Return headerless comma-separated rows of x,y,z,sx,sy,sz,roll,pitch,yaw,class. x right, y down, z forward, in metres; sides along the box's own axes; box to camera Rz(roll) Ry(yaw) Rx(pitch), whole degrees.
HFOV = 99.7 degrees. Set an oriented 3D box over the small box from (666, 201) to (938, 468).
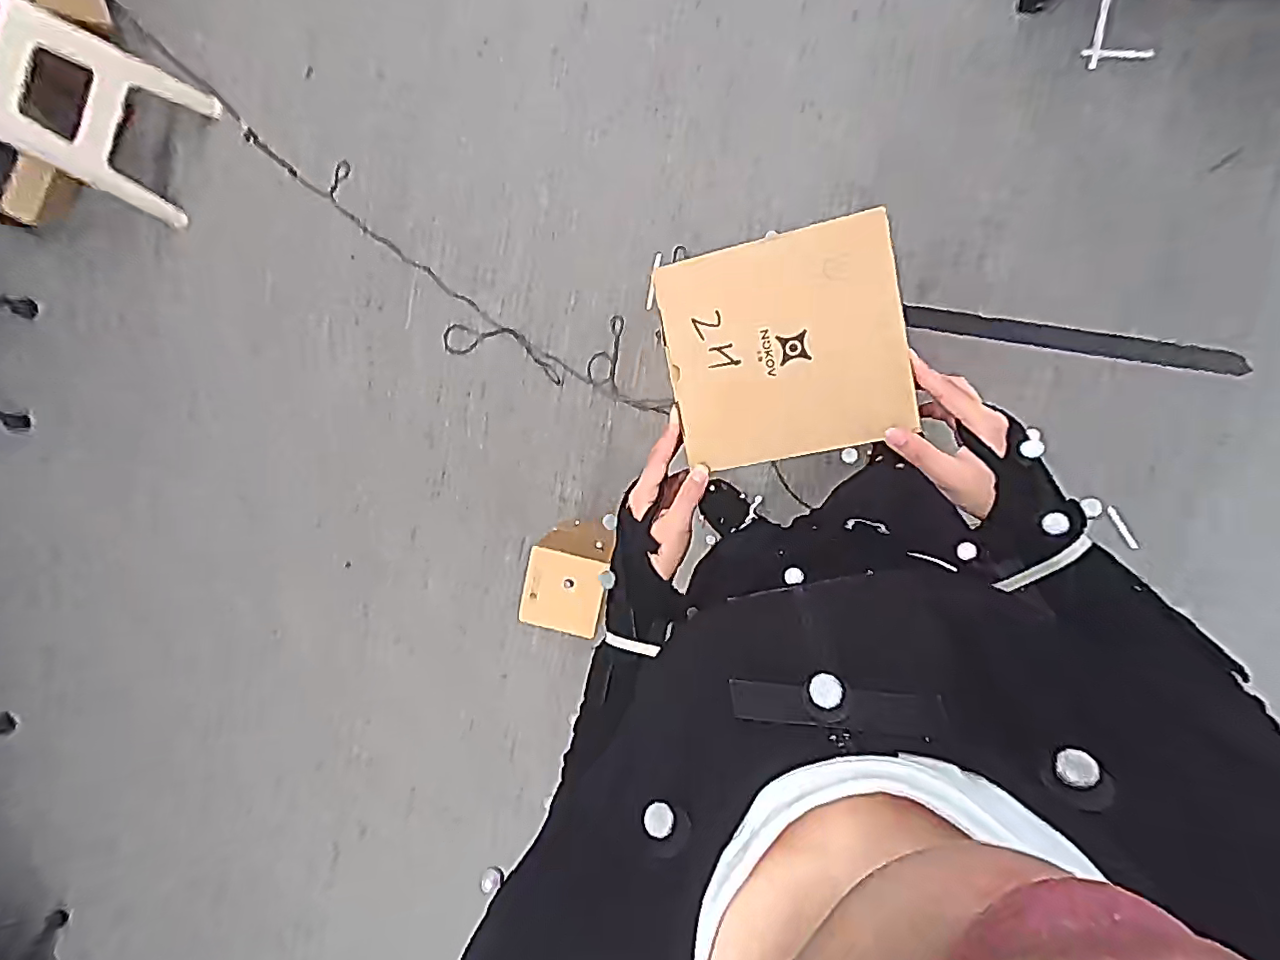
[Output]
0.132,-0.112,0.475,0.179,0.176,0.168,-10,95,13,small box
